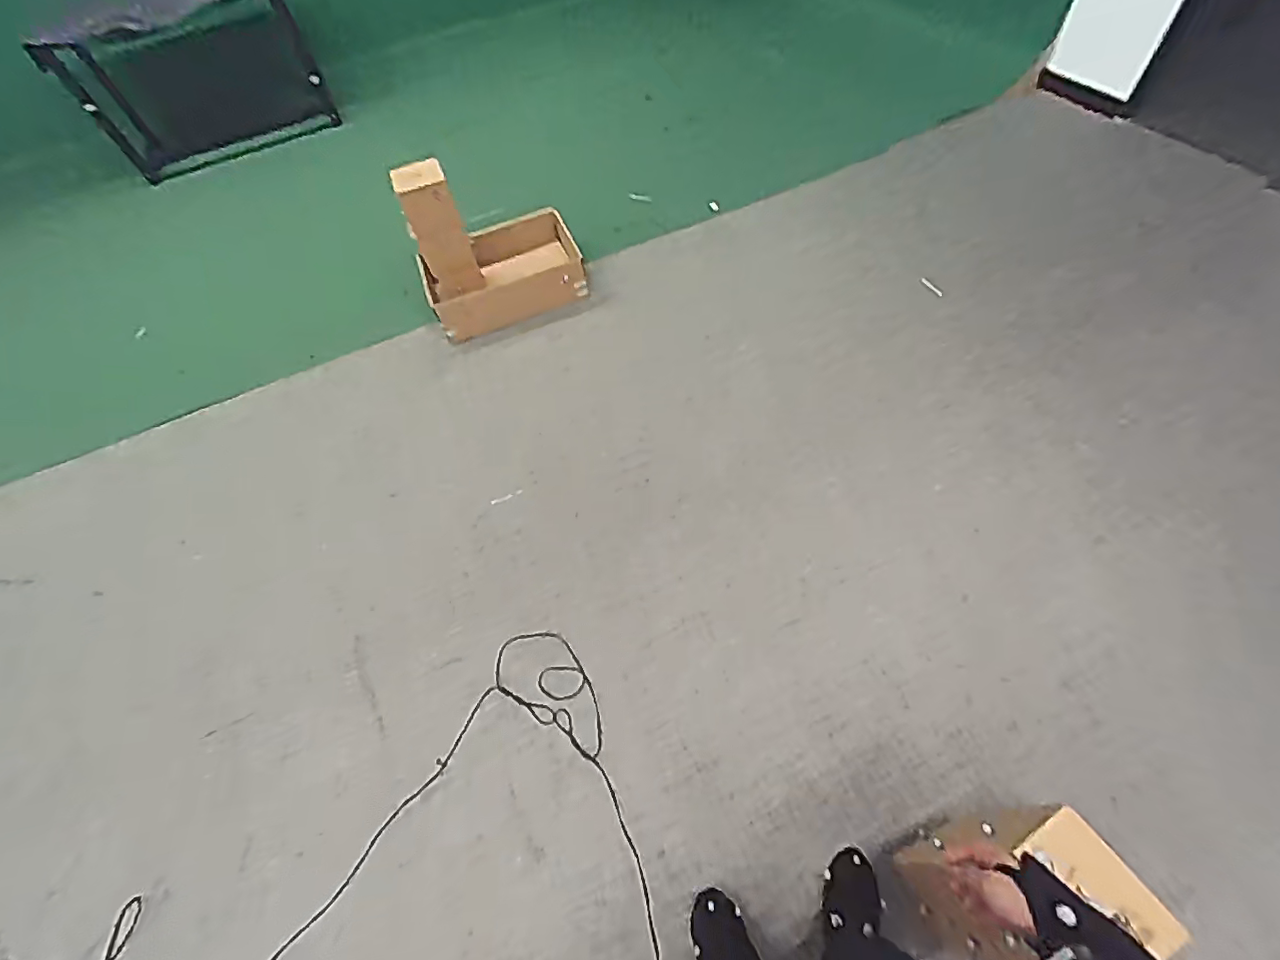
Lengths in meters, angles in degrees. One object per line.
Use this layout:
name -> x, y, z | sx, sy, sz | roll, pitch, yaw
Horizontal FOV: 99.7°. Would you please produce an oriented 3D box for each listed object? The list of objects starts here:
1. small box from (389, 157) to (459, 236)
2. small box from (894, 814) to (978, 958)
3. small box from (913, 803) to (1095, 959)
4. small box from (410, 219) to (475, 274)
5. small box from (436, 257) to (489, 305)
small box -> -0.763, -1.009, 1.931 | 0.179, 0.176, 0.168 | -22, 58, -7
small box -> 0.629, 0.785, 1.064 | 0.179, 0.176, 0.168 | -26, 58, -9
small box -> 0.606, 0.691, 0.933 | 0.179, 0.176, 0.168 | -27, 60, -11
small box -> -0.756, -0.920, 2.070 | 0.179, 0.176, 0.168 | -21, 59, -8
small box -> -0.738, -0.843, 2.215 | 0.168, 0.176, 0.179 | -23, 58, -7
